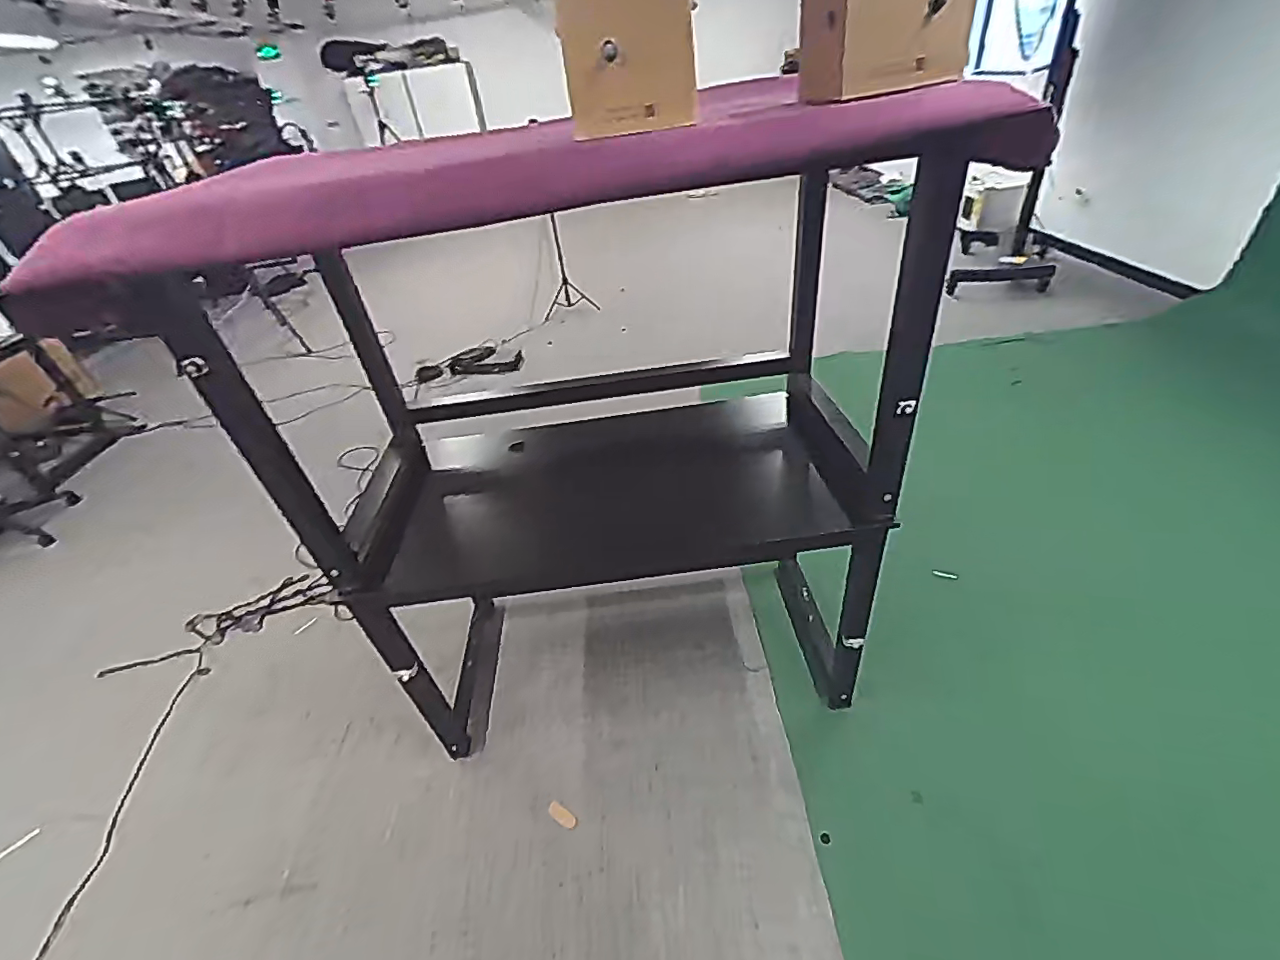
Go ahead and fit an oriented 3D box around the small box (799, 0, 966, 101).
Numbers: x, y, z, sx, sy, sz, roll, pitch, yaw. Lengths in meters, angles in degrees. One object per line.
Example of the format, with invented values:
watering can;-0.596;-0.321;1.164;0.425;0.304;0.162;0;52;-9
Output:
small box;0.325;-0.634;0.740;0.168;0.176;0.179;-9;35;0

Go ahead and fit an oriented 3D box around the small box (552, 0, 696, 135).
small box;-0.013;-0.582;0.739;0.168;0.176;0.179;-4;35;5
